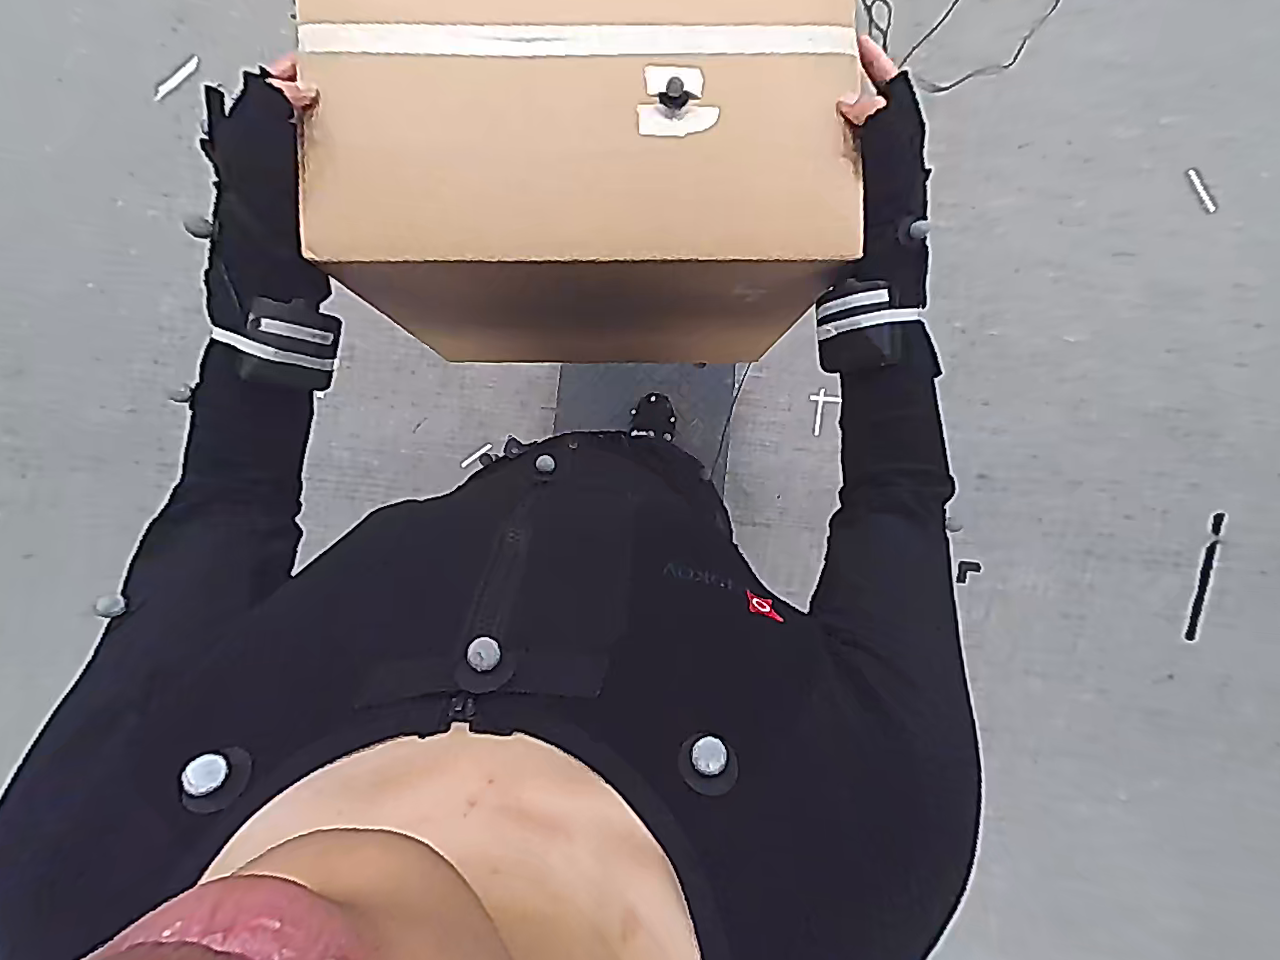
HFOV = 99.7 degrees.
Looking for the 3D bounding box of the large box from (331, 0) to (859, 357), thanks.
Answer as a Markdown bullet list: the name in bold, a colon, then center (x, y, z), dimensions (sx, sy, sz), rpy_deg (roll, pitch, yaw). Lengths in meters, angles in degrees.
- **large box**: center (-0.039, -0.321, 0.561), dimensions (0.408, 0.320, 0.320), rpy_deg (-1, 89, -2)
